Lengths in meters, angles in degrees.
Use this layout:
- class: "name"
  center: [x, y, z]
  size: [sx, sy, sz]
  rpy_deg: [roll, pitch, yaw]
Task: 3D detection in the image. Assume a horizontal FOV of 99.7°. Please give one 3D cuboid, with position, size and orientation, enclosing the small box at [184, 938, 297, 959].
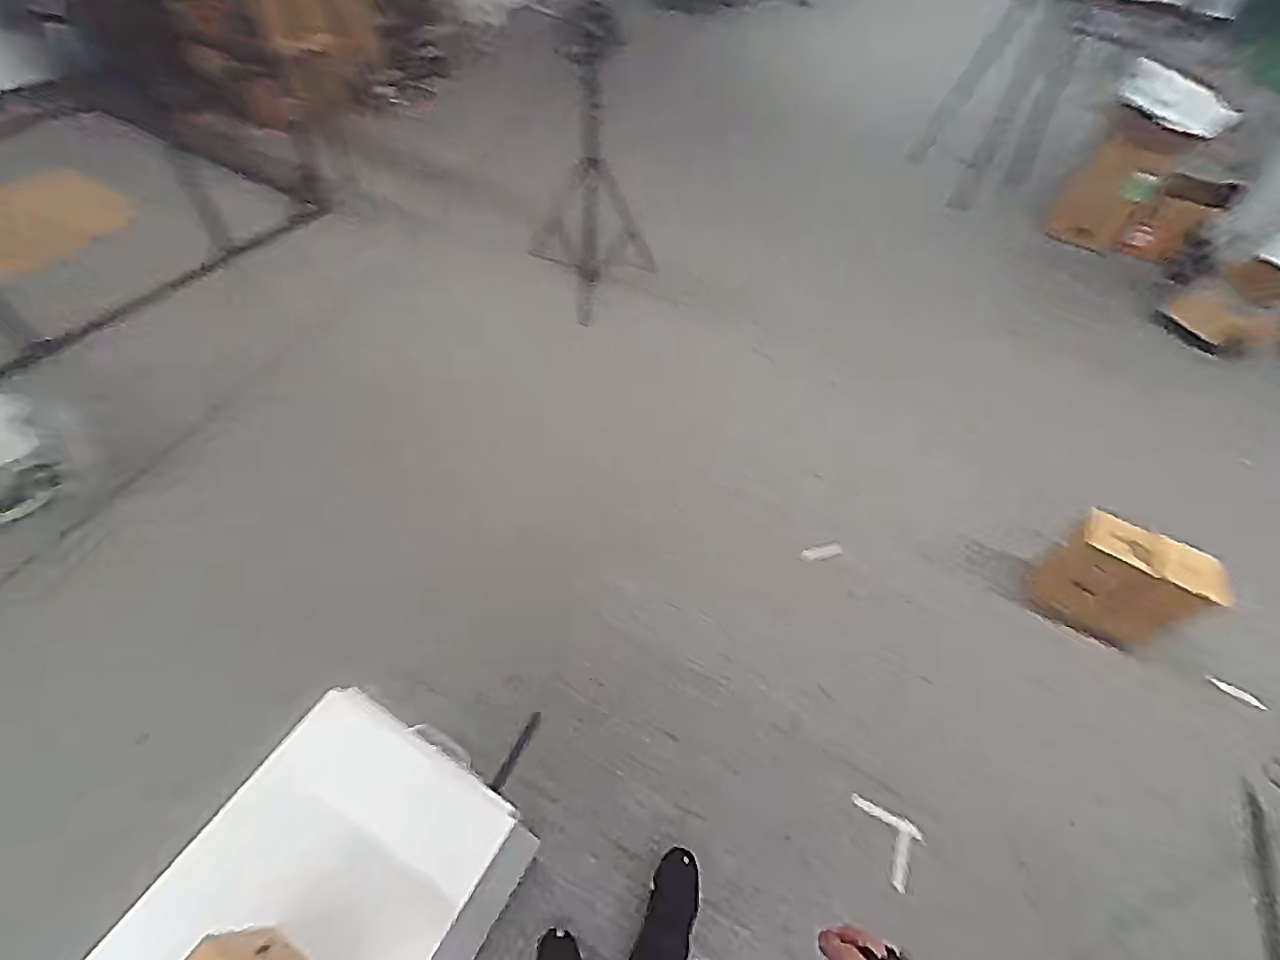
- class: "small box"
  center: [-0.477, 0.667, 0.616]
  size: [0.179, 0.176, 0.168]
  rpy_deg: [28, 56, 15]
